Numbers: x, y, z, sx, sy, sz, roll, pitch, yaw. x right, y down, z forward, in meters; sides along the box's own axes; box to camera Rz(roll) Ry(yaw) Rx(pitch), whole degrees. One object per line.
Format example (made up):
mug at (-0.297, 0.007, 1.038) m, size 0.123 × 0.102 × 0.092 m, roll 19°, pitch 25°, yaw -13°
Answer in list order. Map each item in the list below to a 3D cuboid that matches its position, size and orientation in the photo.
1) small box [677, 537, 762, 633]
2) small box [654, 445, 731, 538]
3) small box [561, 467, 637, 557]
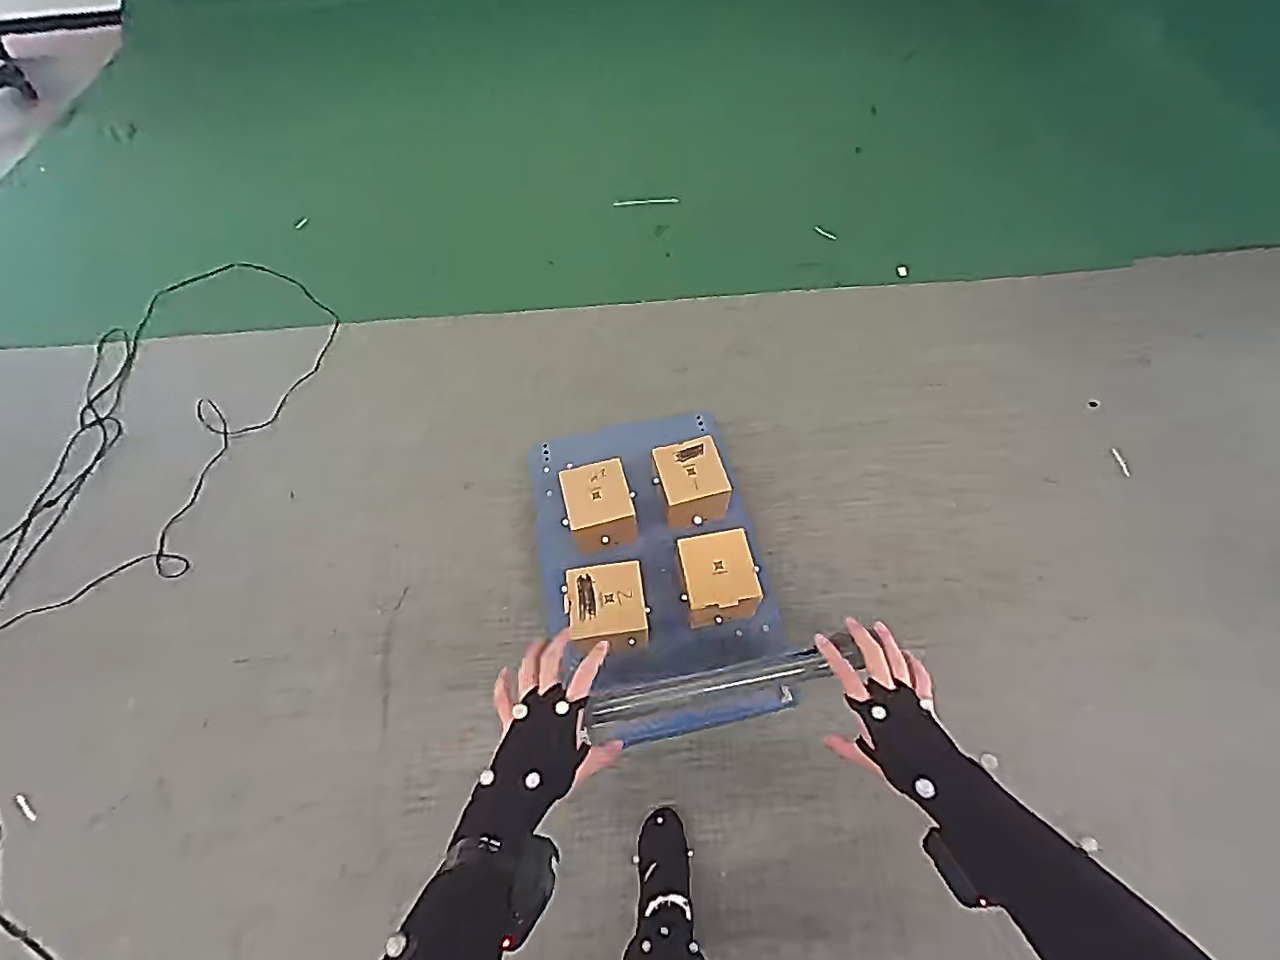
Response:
small box at (0.189, 0.264, 1.346) m, size 0.168 × 0.176 × 0.179 m, roll -10°, pitch 61°, yaw -3°
small box at (0.137, 0.034, 1.479) m, size 0.168 × 0.176 × 0.179 m, roll -14°, pitch 61°, yaw -4°
small box at (-0.106, 0.095, 1.456) m, size 0.168 × 0.176 × 0.179 m, roll -13°, pitch 60°, yaw -6°
